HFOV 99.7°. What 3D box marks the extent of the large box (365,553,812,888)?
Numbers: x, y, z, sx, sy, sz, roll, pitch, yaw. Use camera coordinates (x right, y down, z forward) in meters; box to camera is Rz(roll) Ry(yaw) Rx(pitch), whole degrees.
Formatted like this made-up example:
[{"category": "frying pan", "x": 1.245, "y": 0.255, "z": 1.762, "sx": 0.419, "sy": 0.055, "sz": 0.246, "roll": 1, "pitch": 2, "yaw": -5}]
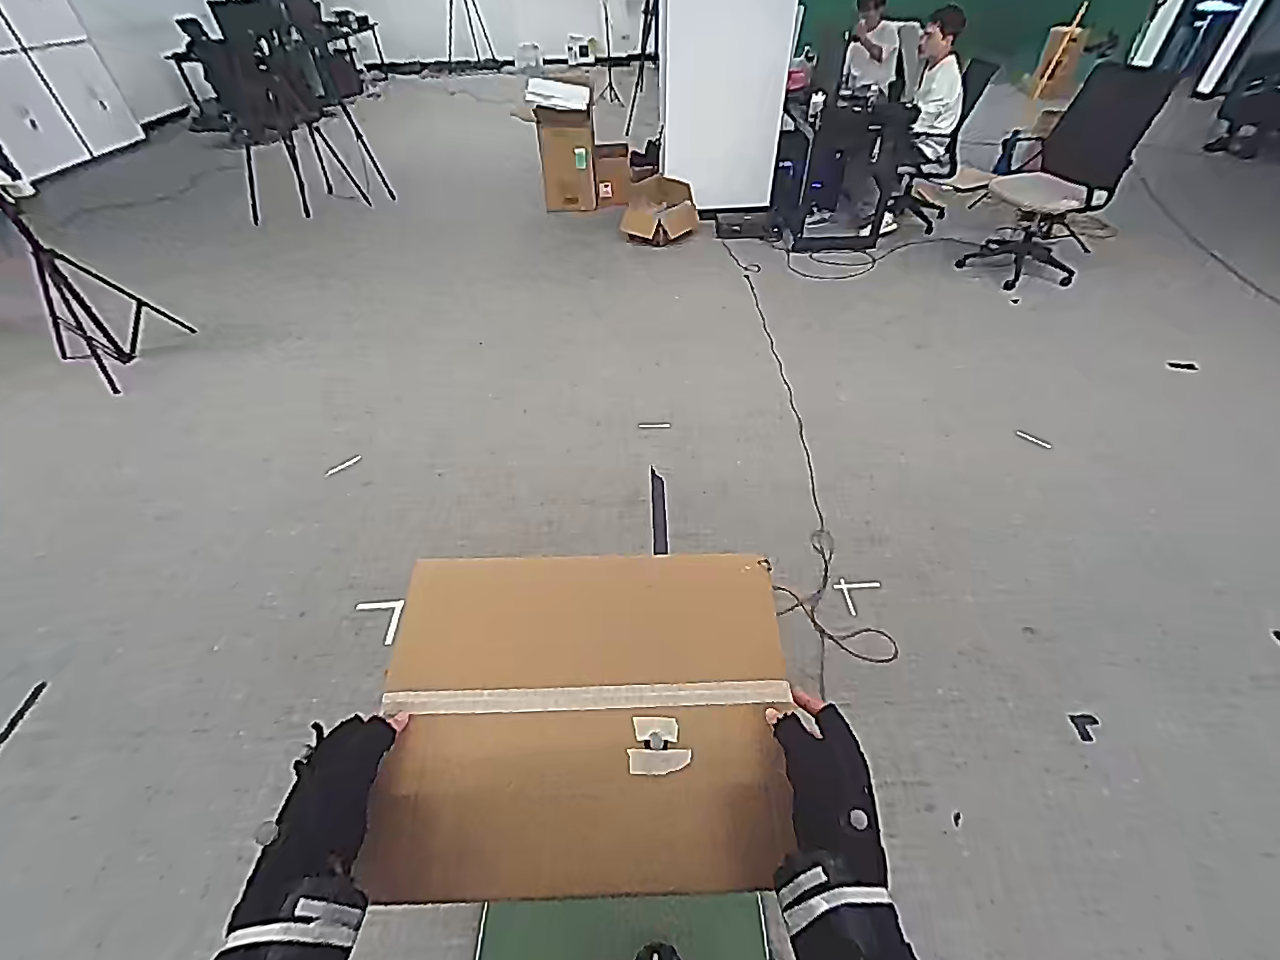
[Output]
[{"category": "large box", "x": -0.054, "y": 0.304, "z": 0.681, "sx": 0.408, "sy": 0.320, "sz": 0.320, "roll": -1, "pitch": 55, "yaw": -3}]
